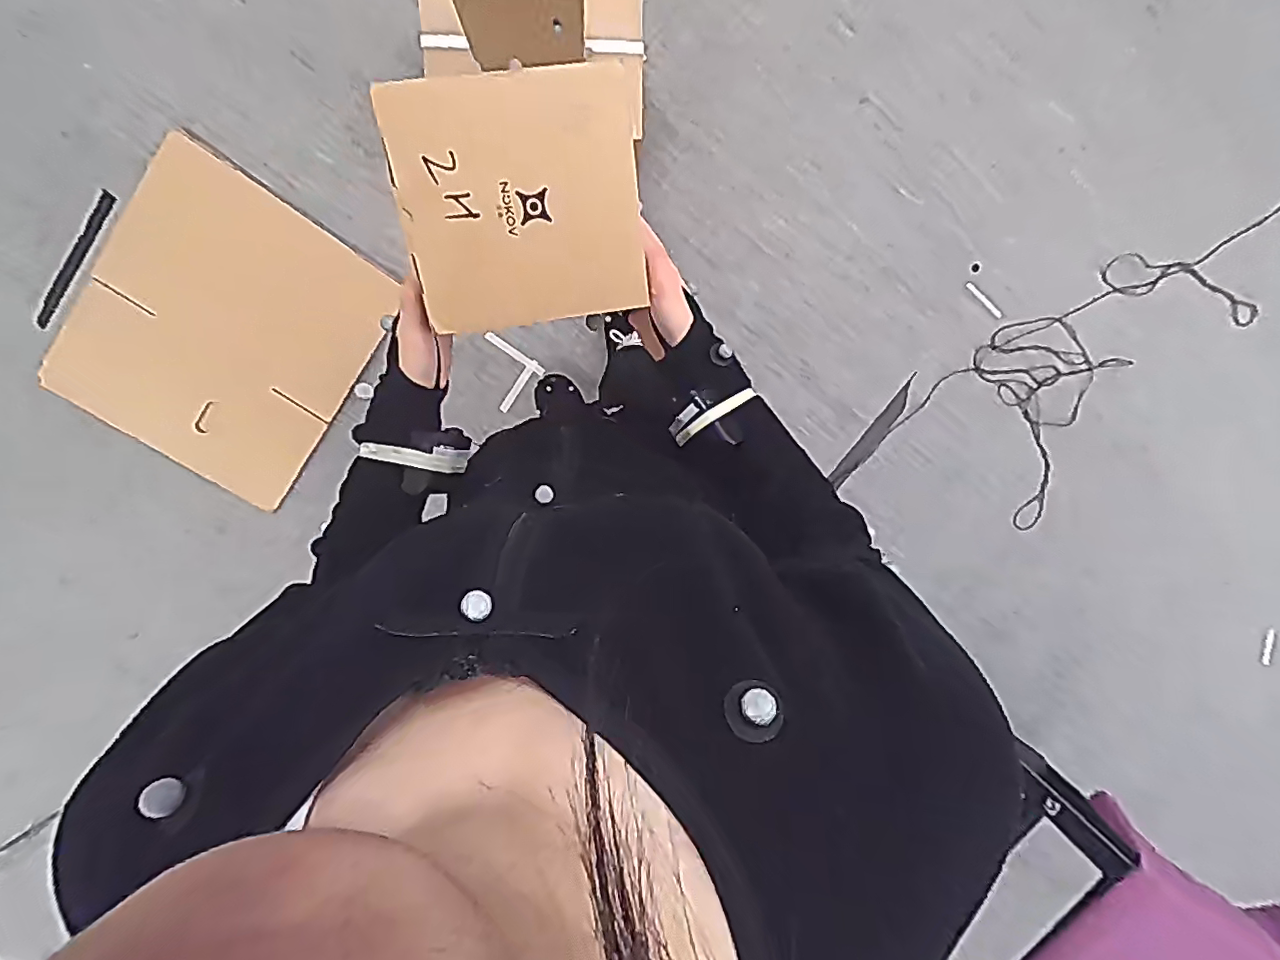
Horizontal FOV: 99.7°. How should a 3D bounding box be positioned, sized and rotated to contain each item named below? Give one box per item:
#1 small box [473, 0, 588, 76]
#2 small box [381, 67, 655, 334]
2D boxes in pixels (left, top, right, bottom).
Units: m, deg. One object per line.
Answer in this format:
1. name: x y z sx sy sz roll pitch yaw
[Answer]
1. small box: -0.180 -0.760 0.924 0.179 0.176 0.168 -5 103 -6
2. small box: -0.092 -0.230 0.469 0.179 0.176 0.168 -9 113 -5
